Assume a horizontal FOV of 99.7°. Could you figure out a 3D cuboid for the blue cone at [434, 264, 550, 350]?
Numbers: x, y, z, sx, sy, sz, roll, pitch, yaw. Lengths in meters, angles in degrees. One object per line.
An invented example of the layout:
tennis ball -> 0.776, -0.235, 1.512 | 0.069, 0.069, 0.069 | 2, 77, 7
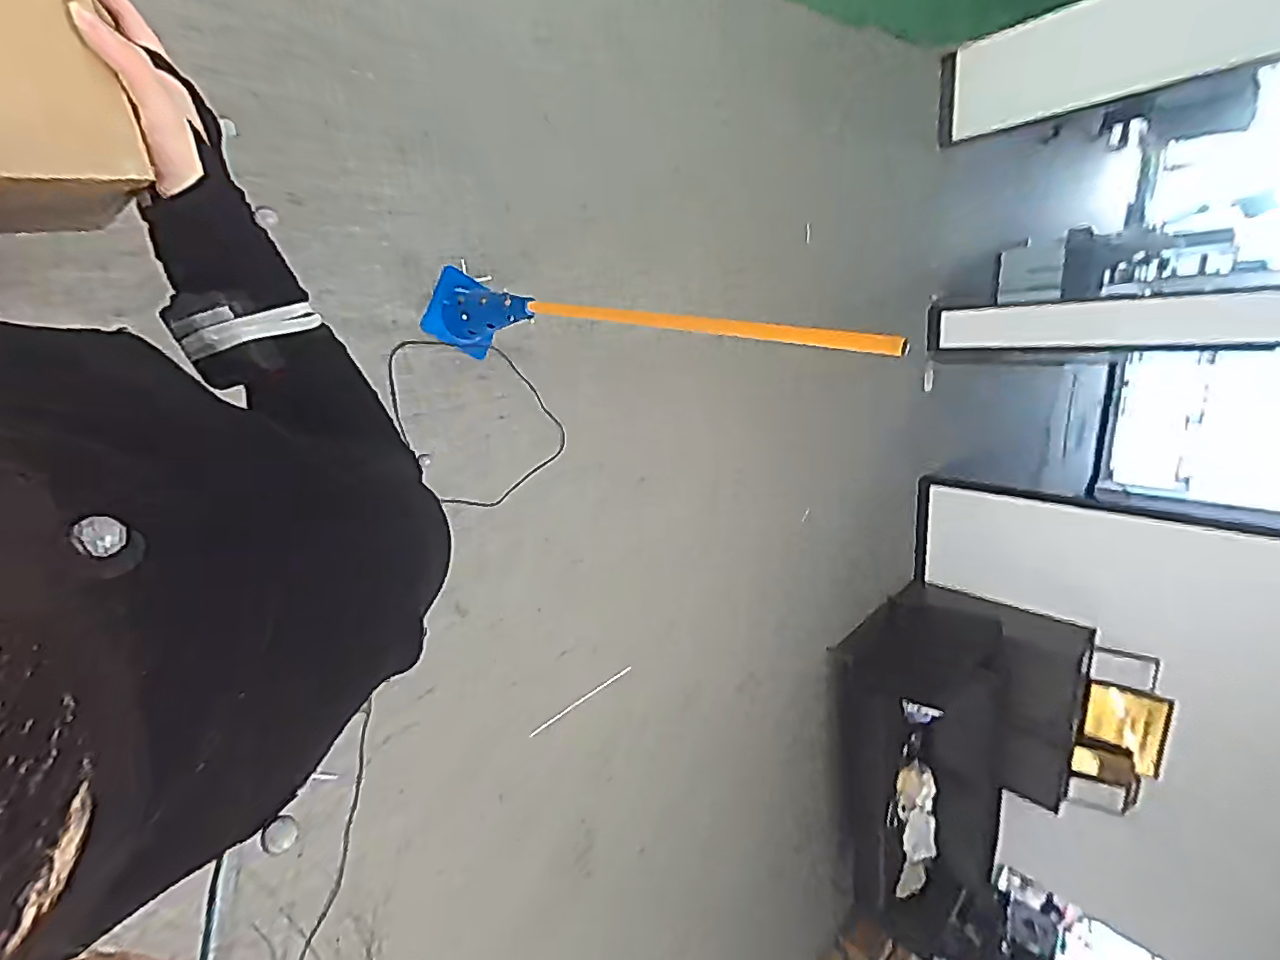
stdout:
blue cone -> -0.359, -0.455, 1.388 | 0.192, 0.380, 0.193 | 21, 84, -44
